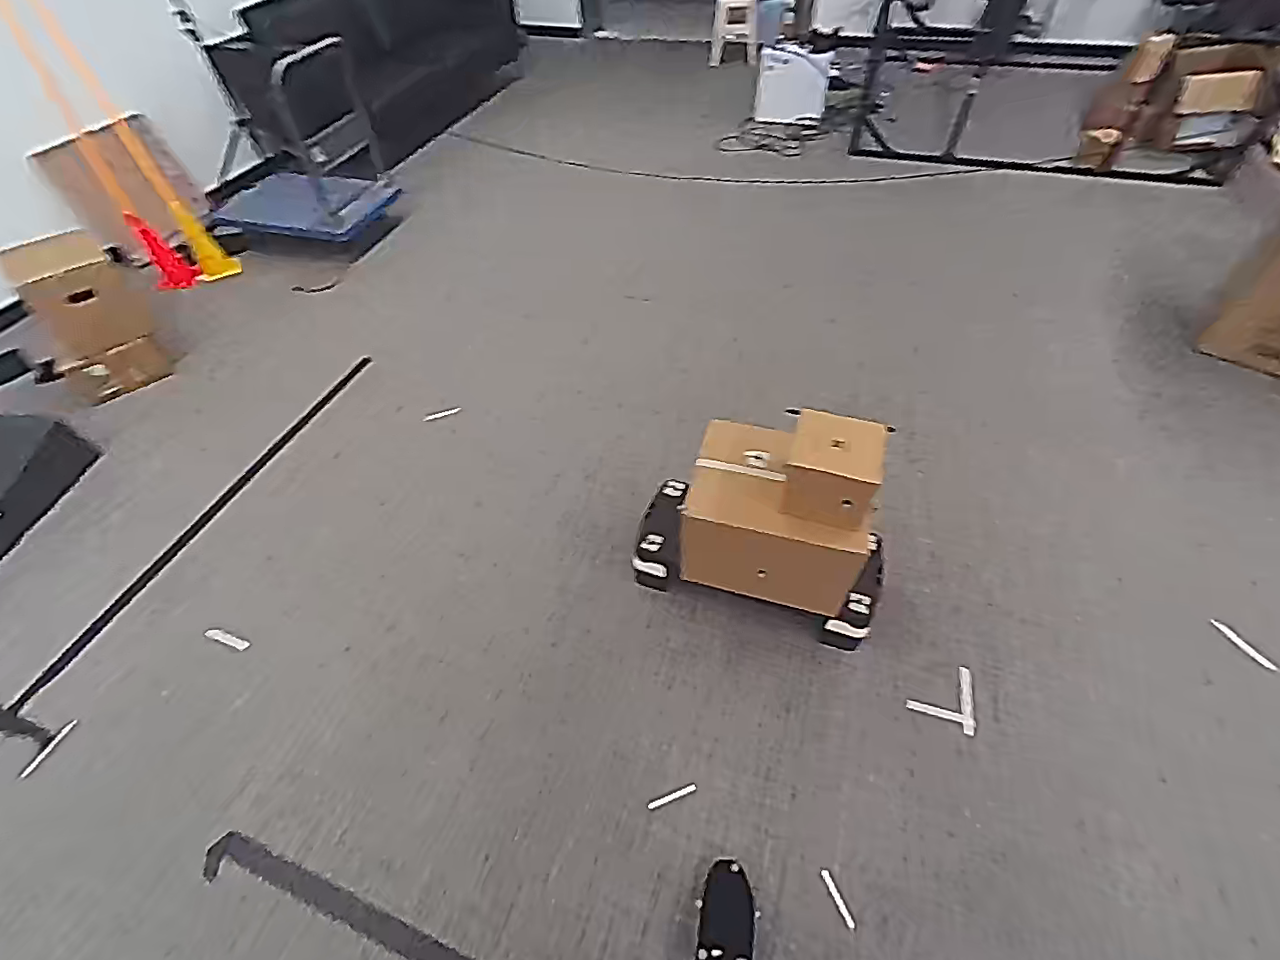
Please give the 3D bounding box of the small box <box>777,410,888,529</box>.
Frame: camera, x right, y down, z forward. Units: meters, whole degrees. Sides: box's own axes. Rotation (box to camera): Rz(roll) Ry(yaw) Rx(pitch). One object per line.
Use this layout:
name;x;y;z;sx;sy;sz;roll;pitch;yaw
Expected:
small box;0.402;-0.018;1.143;0.179;0.176;0.168;14;54;15

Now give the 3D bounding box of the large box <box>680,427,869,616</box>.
large box;0.332;0.105;1.364;0.408;0.320;0.320;11;52;13
